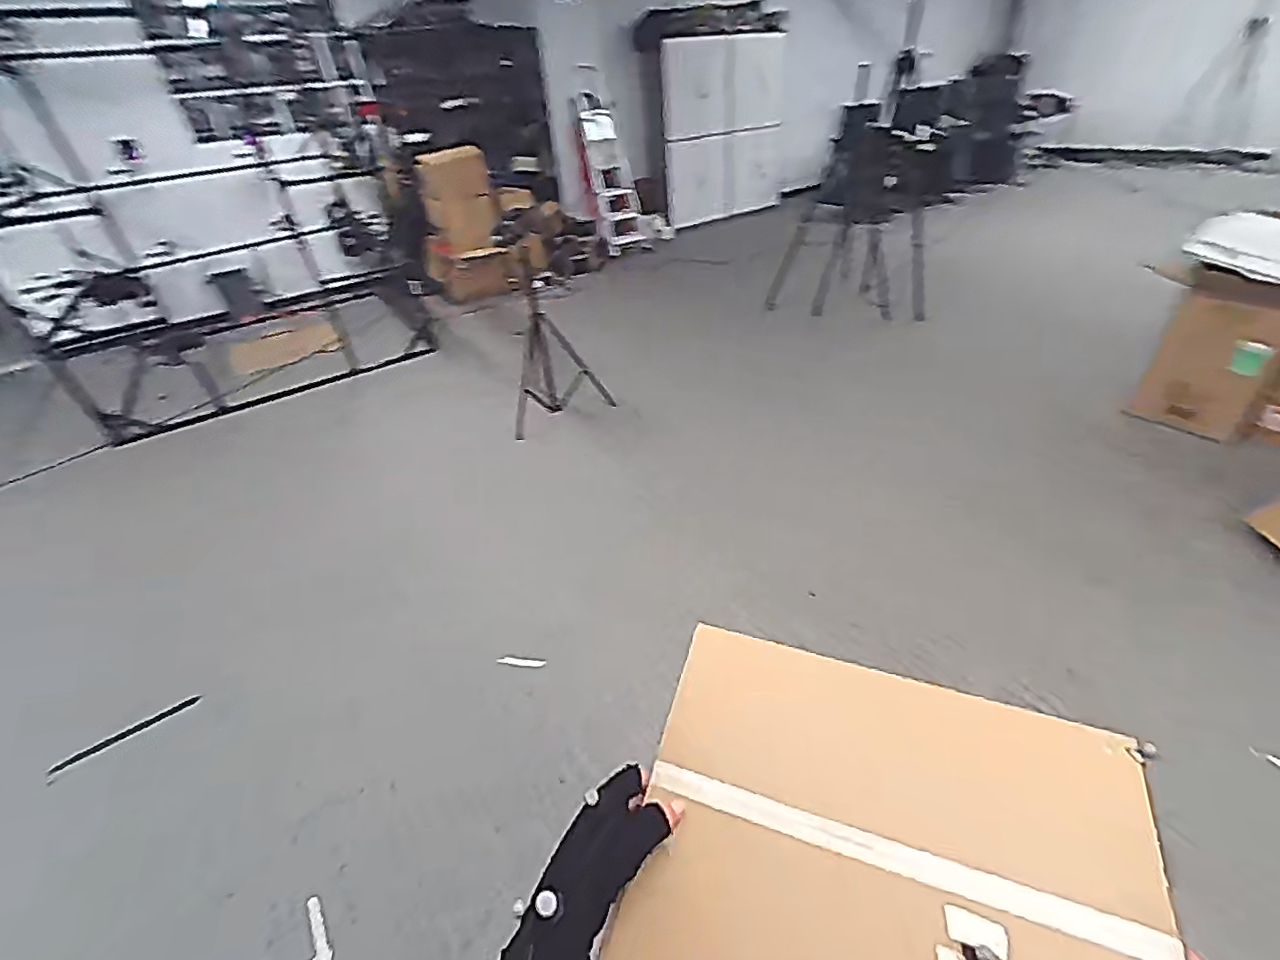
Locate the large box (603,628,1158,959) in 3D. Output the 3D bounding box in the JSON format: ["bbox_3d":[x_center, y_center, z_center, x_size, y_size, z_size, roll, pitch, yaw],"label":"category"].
[{"bbox_3d":[0.211,0.405,0.573,0.408,0.320,0.320,11,52,15],"label":"large box"}]
